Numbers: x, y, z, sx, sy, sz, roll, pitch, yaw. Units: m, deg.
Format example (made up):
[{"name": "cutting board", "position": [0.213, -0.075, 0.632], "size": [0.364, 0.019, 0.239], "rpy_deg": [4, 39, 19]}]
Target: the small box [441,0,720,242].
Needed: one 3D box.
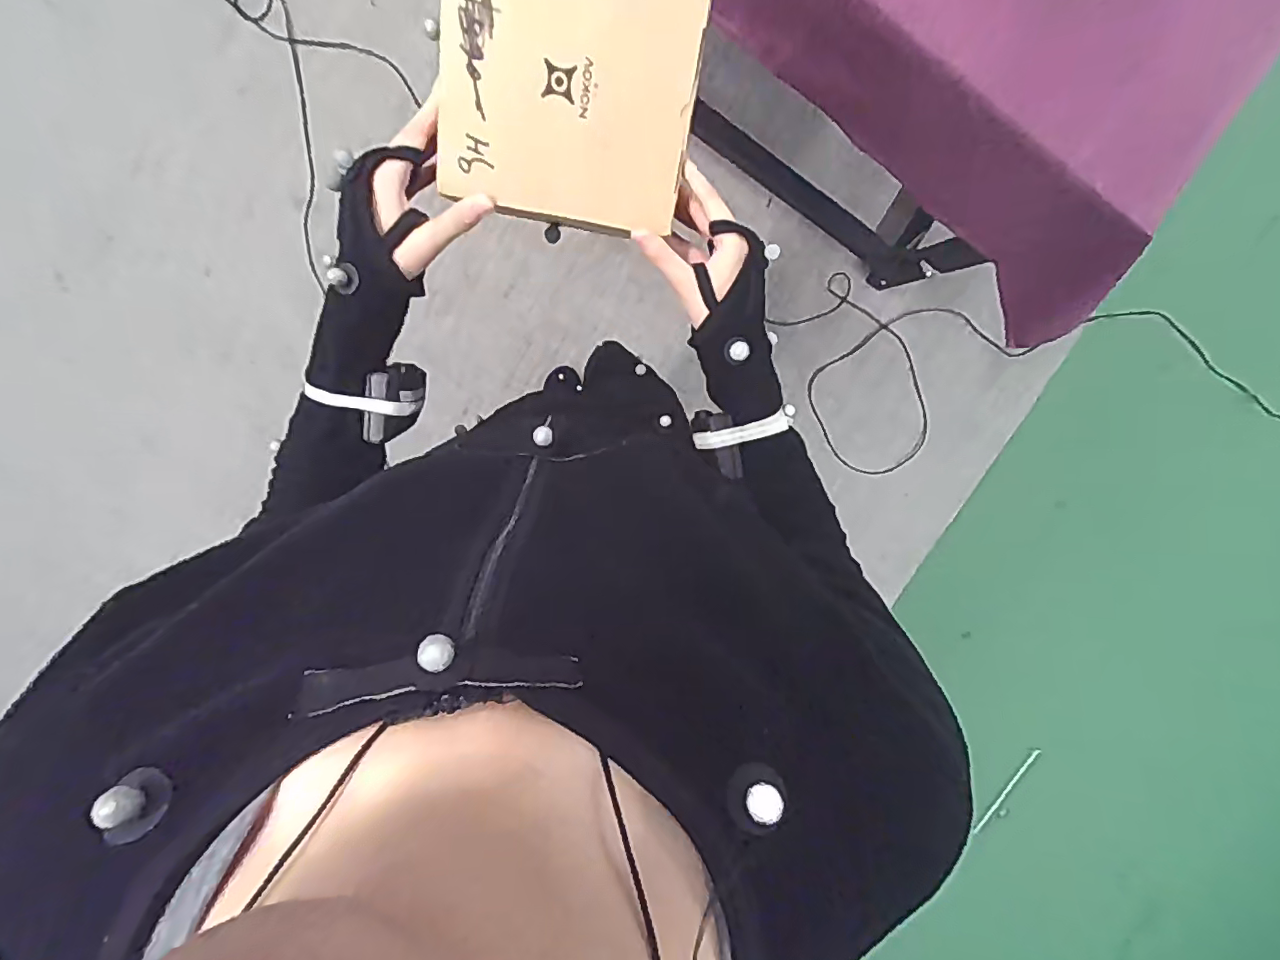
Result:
[{"name": "small box", "position": [-0.058, -0.303, 0.447], "size": [0.179, 0.176, 0.168], "rpy_deg": [6, 111, -14]}]
